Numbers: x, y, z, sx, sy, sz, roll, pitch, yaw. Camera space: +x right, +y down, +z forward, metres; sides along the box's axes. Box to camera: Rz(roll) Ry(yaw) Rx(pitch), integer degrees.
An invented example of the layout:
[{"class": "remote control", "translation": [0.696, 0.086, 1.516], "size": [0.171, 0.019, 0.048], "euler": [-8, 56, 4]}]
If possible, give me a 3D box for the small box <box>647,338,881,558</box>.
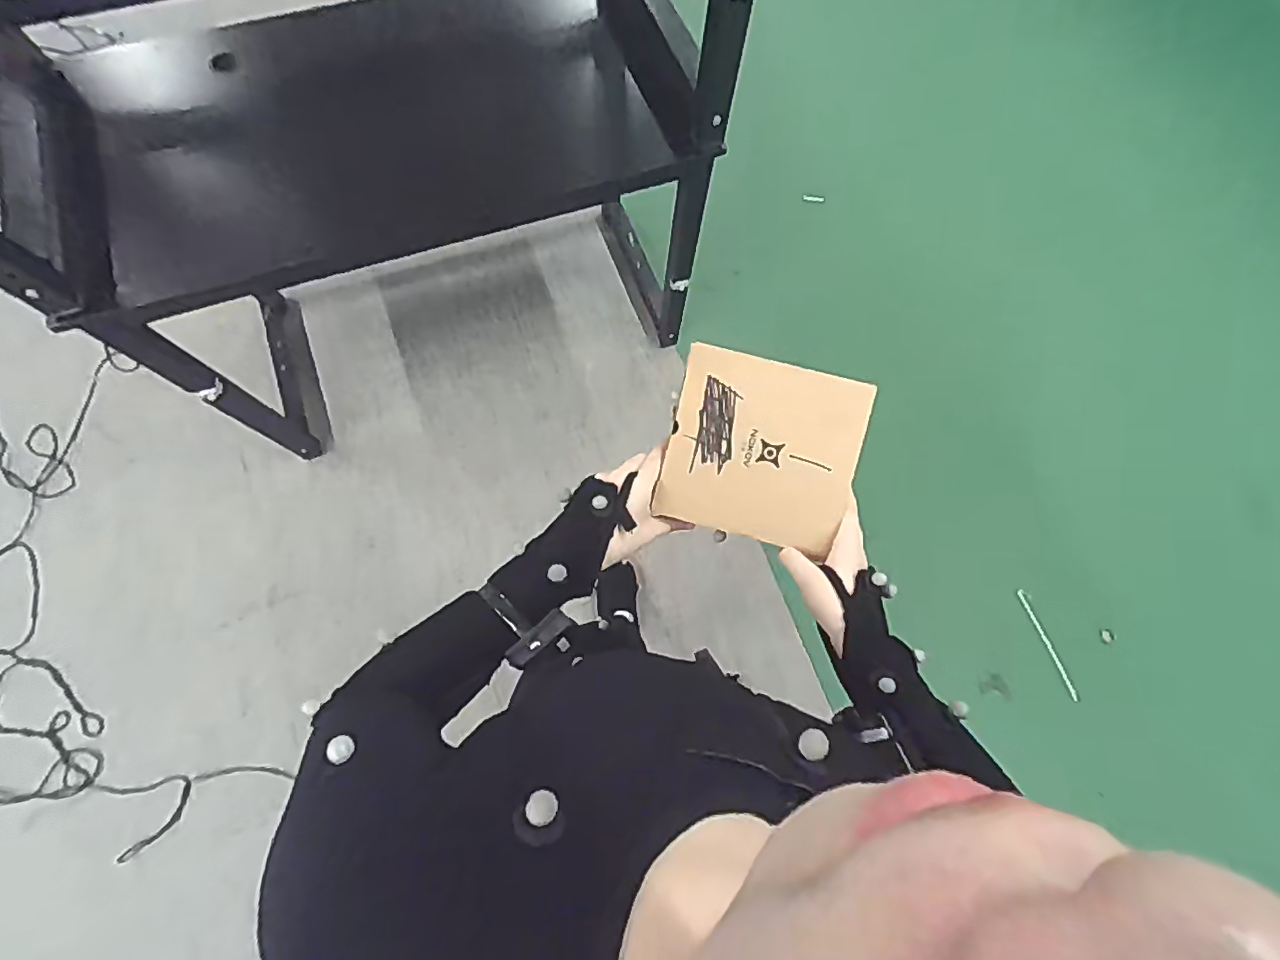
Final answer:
[{"class": "small box", "translation": [0.115, -0.029, 0.563], "size": [0.179, 0.176, 0.168], "euler": [15, 91, 4]}]
